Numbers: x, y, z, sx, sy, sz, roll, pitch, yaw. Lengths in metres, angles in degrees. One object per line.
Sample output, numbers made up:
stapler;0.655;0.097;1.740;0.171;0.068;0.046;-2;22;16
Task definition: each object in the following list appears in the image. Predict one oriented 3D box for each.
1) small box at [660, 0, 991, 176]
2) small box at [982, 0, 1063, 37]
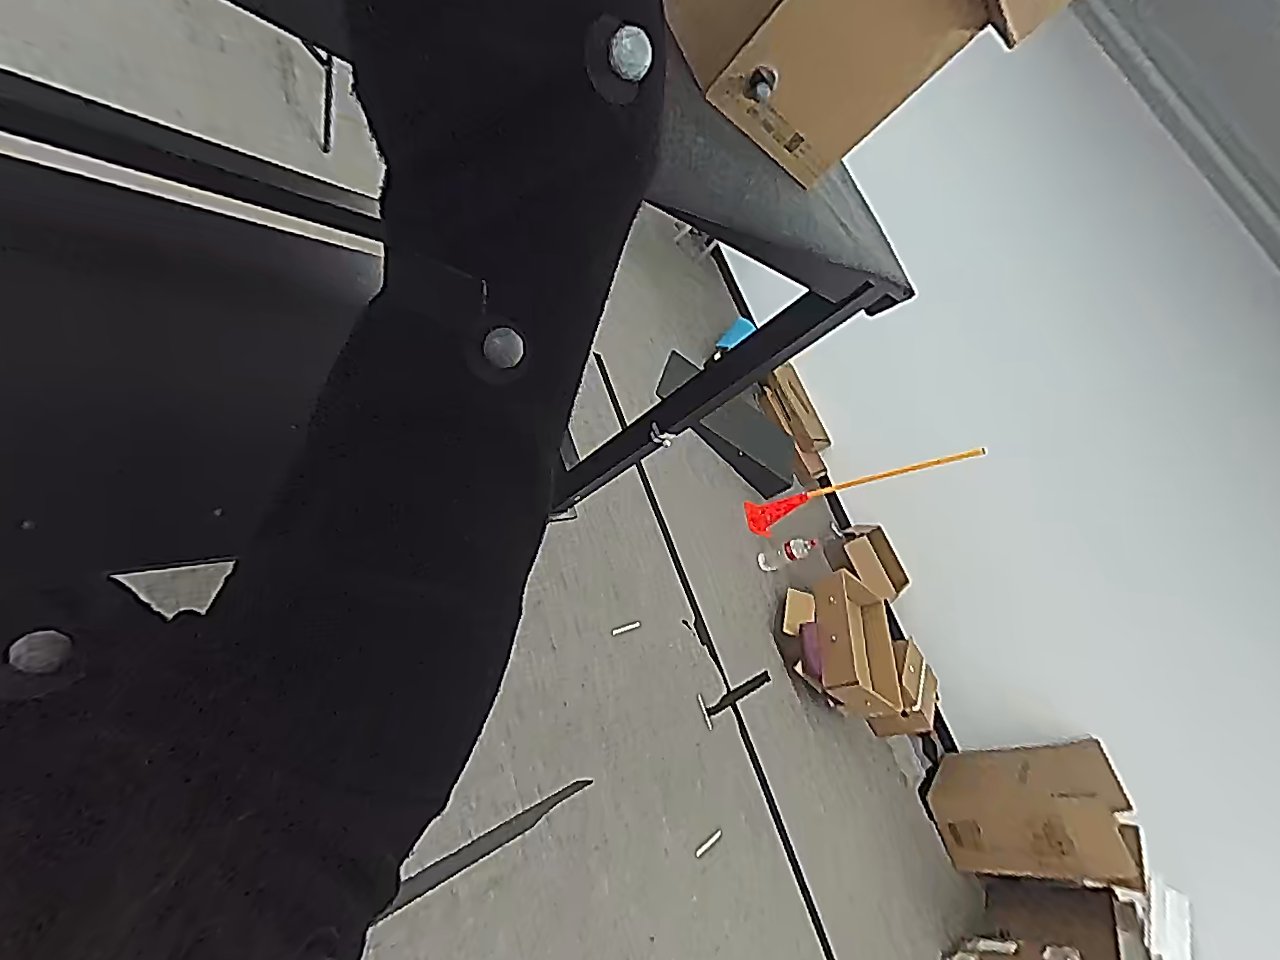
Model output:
small box;0.132;-0.387;0.425;0.168;0.176;0.179;2;62;-47
small box;0.252;-0.429;0.319;0.168;0.176;0.179;-6;68;-51
